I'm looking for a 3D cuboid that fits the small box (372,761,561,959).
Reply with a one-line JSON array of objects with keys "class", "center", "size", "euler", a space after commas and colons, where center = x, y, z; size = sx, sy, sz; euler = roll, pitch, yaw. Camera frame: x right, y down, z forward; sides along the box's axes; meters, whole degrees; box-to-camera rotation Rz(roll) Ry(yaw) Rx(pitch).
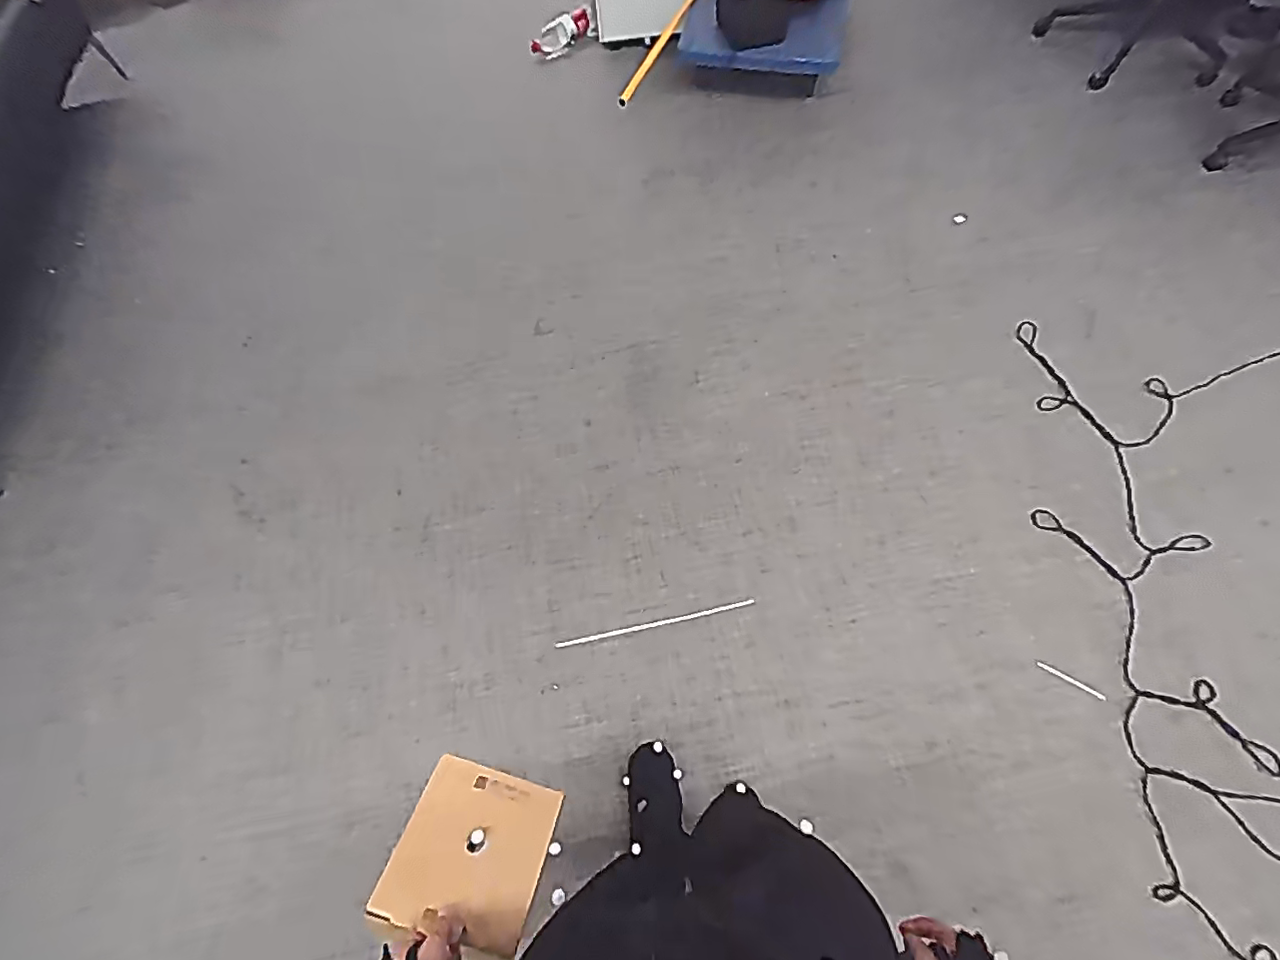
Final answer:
[{"class": "small box", "center": [-0.206, 0.482, 0.676], "size": [0.168, 0.179, 0.176], "euler": [18, 40, 0]}]
